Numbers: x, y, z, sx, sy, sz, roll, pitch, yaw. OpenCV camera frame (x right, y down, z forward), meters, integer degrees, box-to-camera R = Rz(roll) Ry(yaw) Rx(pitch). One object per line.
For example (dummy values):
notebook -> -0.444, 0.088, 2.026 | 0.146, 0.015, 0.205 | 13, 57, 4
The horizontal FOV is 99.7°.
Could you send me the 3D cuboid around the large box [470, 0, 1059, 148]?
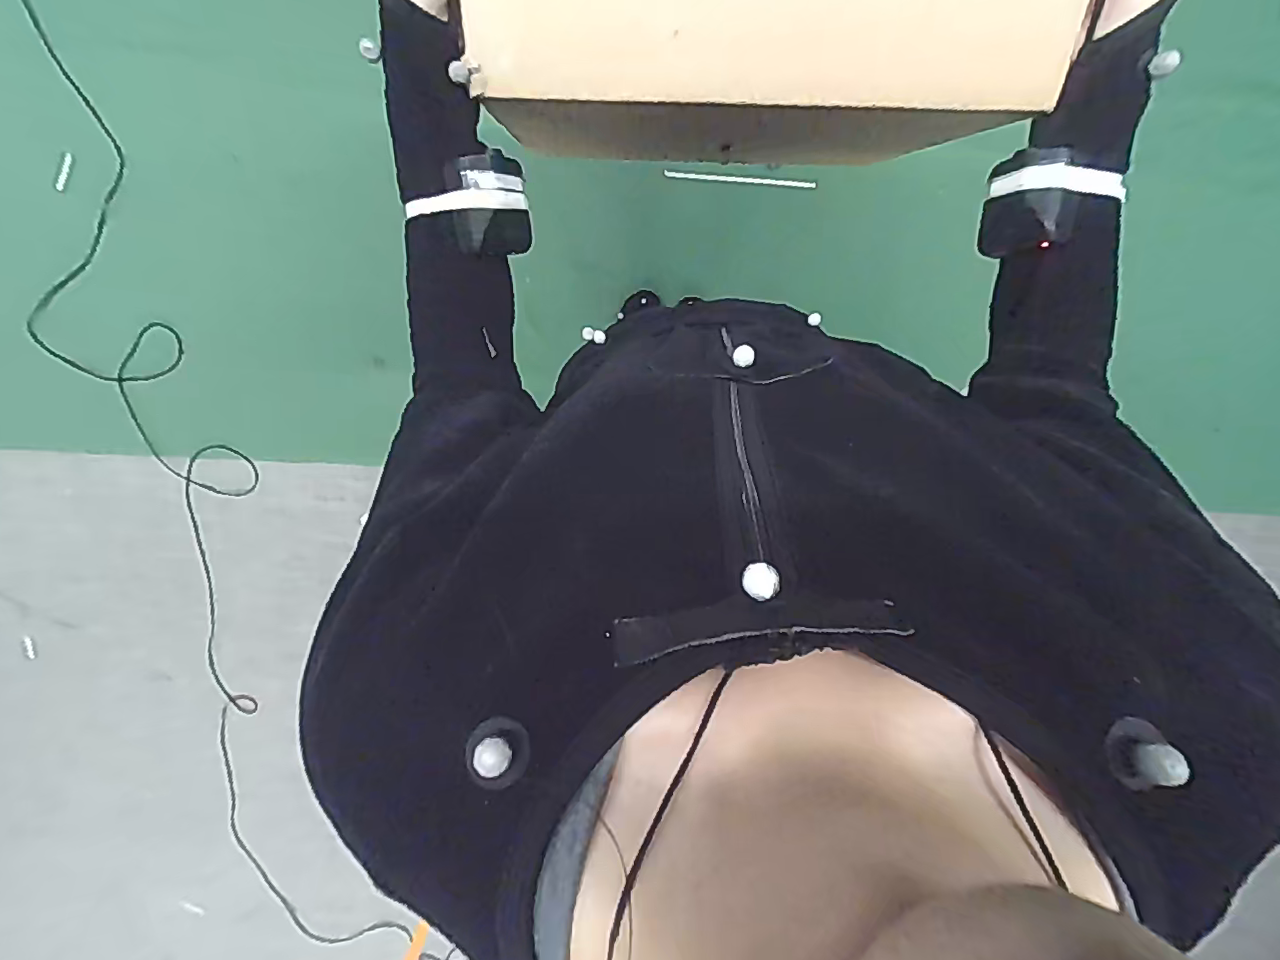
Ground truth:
large box -> 0.084, -0.473, 0.453 | 0.408, 0.320, 0.320 | 0, 114, -1
